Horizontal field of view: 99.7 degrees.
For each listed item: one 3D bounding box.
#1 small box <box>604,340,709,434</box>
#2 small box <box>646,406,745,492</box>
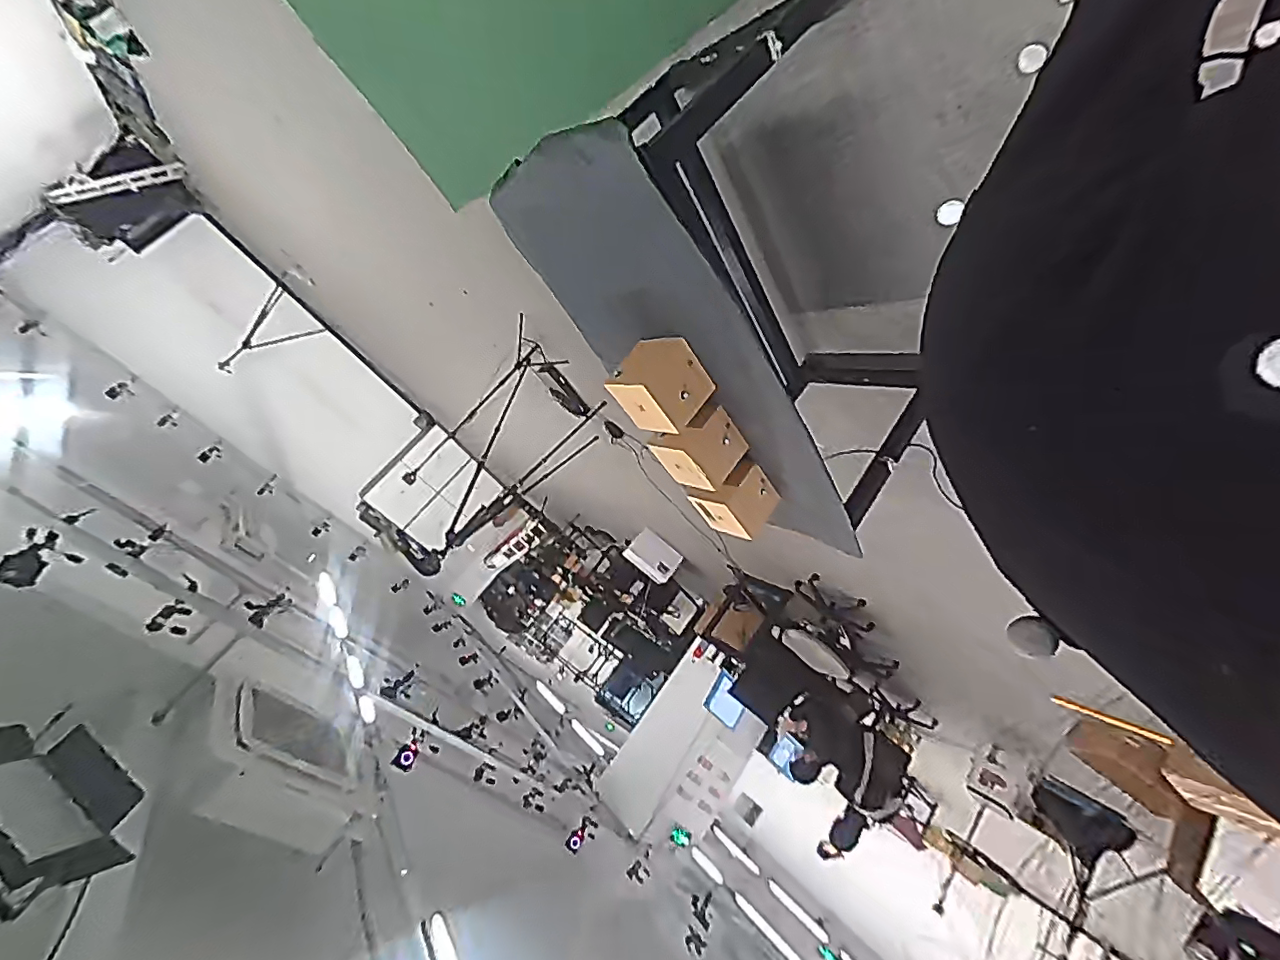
[{"bbox_3d":[0.050,-0.237,1.362,0.179,0.176,0.168,15,151,54],"label":"small box"},{"bbox_3d":[0.155,-0.095,1.499,0.179,0.176,0.168,14,150,54],"label":"small box"}]
